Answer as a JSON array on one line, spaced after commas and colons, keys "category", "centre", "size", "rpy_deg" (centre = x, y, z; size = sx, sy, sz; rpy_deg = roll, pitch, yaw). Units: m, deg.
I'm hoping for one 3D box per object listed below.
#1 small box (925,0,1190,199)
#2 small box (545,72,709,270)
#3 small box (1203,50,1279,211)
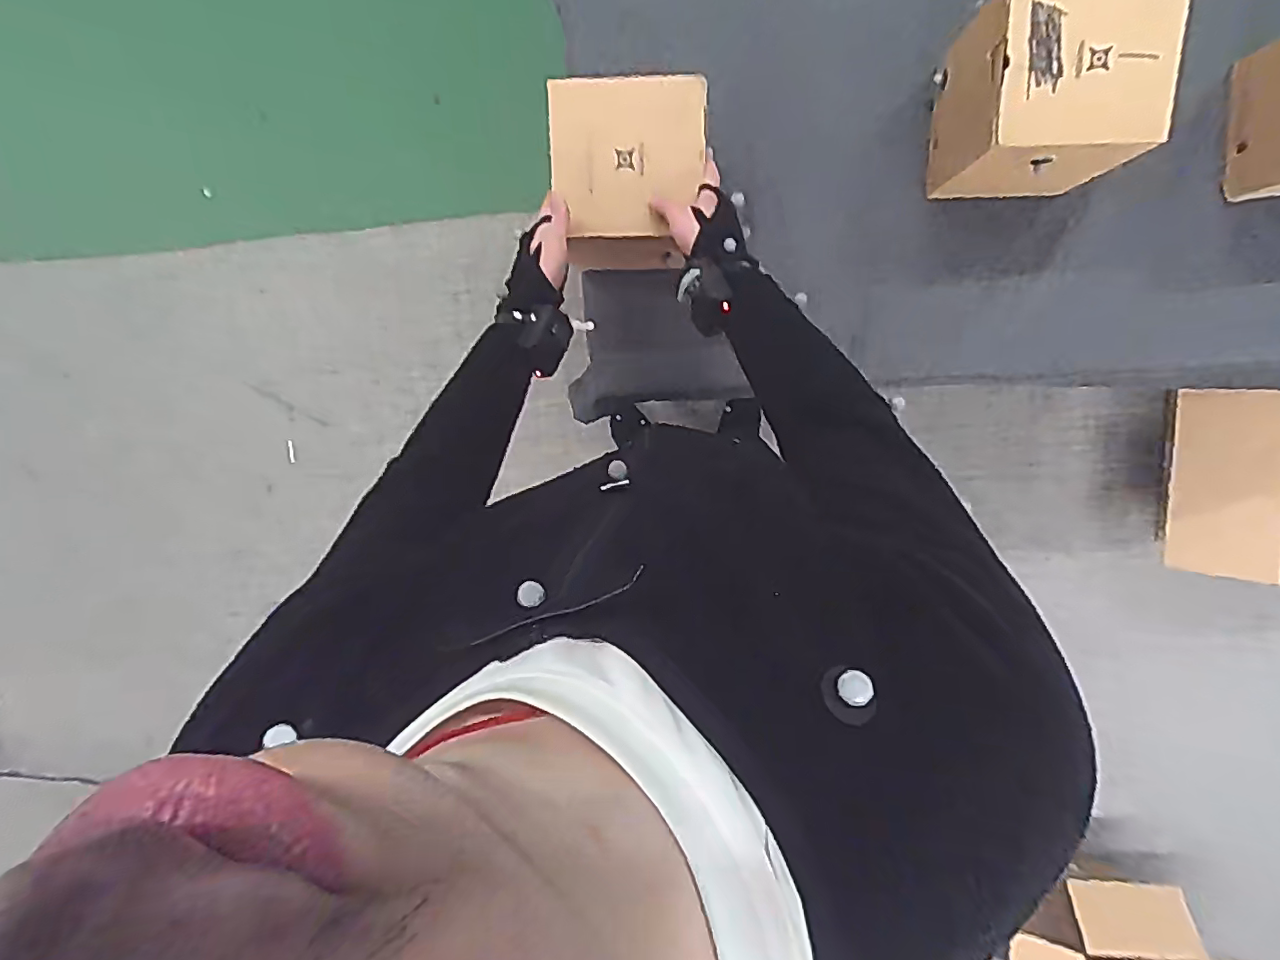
[{"category": "small box", "centre": [0.464, -0.442, 0.633], "size": [0.179, 0.176, 0.168], "rpy_deg": [4, 103, 4]}, {"category": "small box", "centre": [-0.013, -0.361, 0.660], "size": [0.179, 0.176, 0.168], "rpy_deg": [-1, 99, 2]}, {"category": "small box", "centre": [0.830, -0.433, 0.628], "size": [0.179, 0.176, 0.168], "rpy_deg": [-8, 101, 6]}]
